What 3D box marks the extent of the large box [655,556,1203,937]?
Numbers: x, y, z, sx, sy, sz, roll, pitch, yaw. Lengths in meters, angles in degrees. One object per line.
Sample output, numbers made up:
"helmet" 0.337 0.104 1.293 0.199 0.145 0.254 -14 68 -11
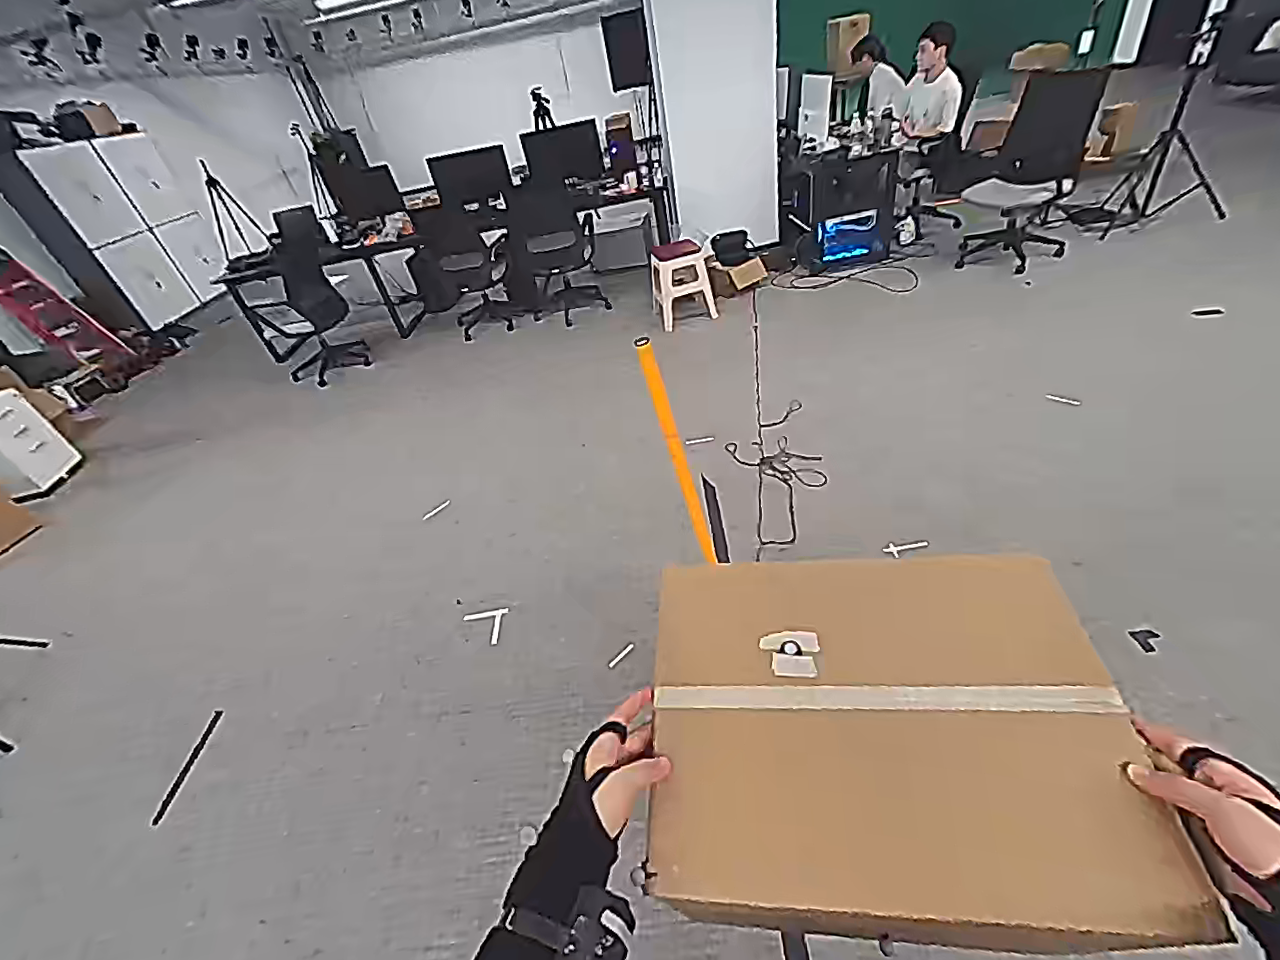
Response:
"large box" 0.245 0.311 0.621 0.408 0.320 0.320 -5 46 11
